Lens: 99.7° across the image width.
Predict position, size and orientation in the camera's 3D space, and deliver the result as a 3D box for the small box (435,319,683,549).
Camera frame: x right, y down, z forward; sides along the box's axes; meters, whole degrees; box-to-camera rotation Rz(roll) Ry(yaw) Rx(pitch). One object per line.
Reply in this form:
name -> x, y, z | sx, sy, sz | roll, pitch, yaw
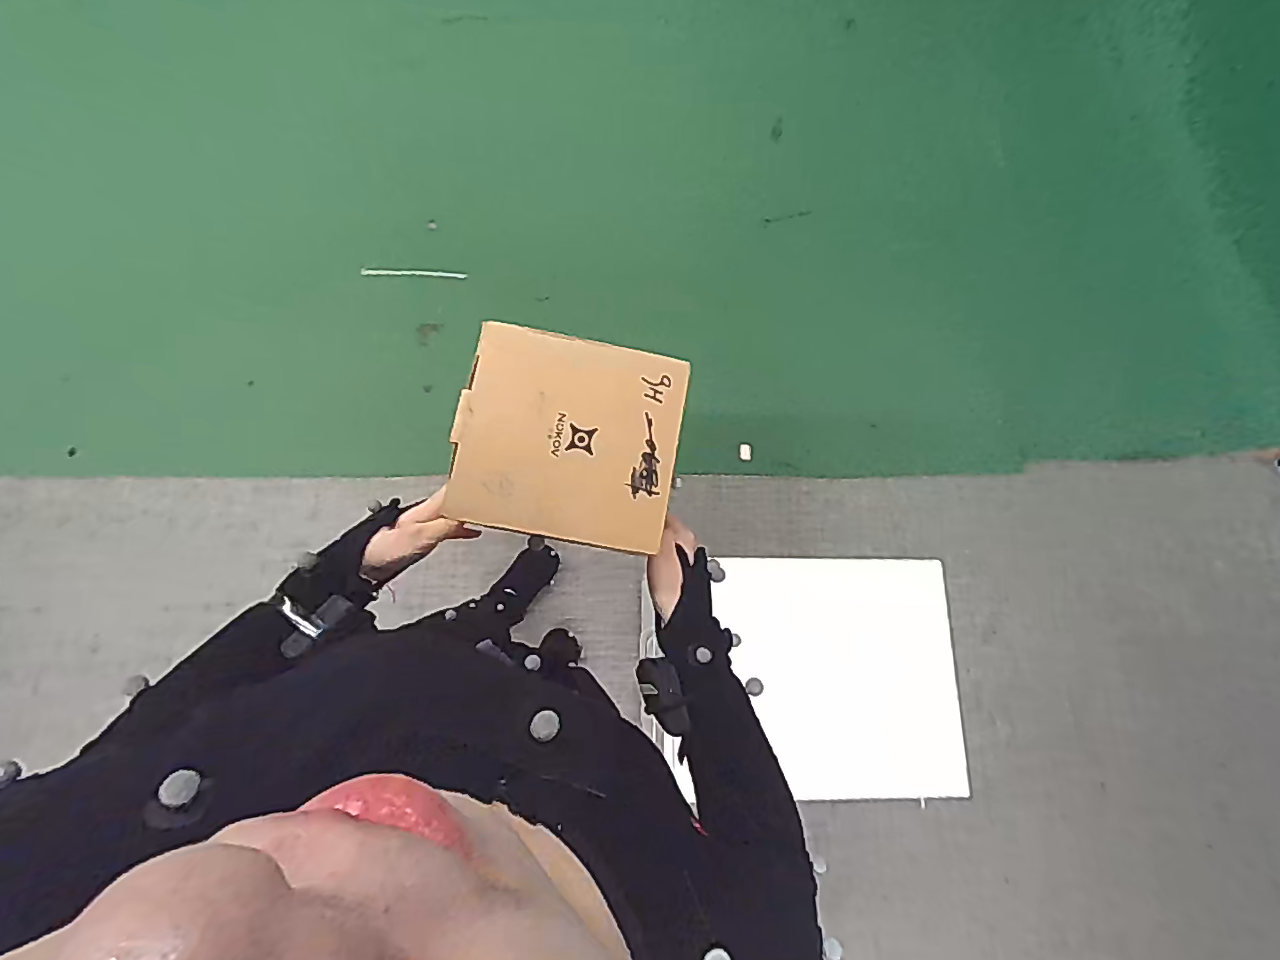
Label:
small box -> -0.069, -0.028, 0.513 | 0.179, 0.176, 0.168 | 10, 83, -4
